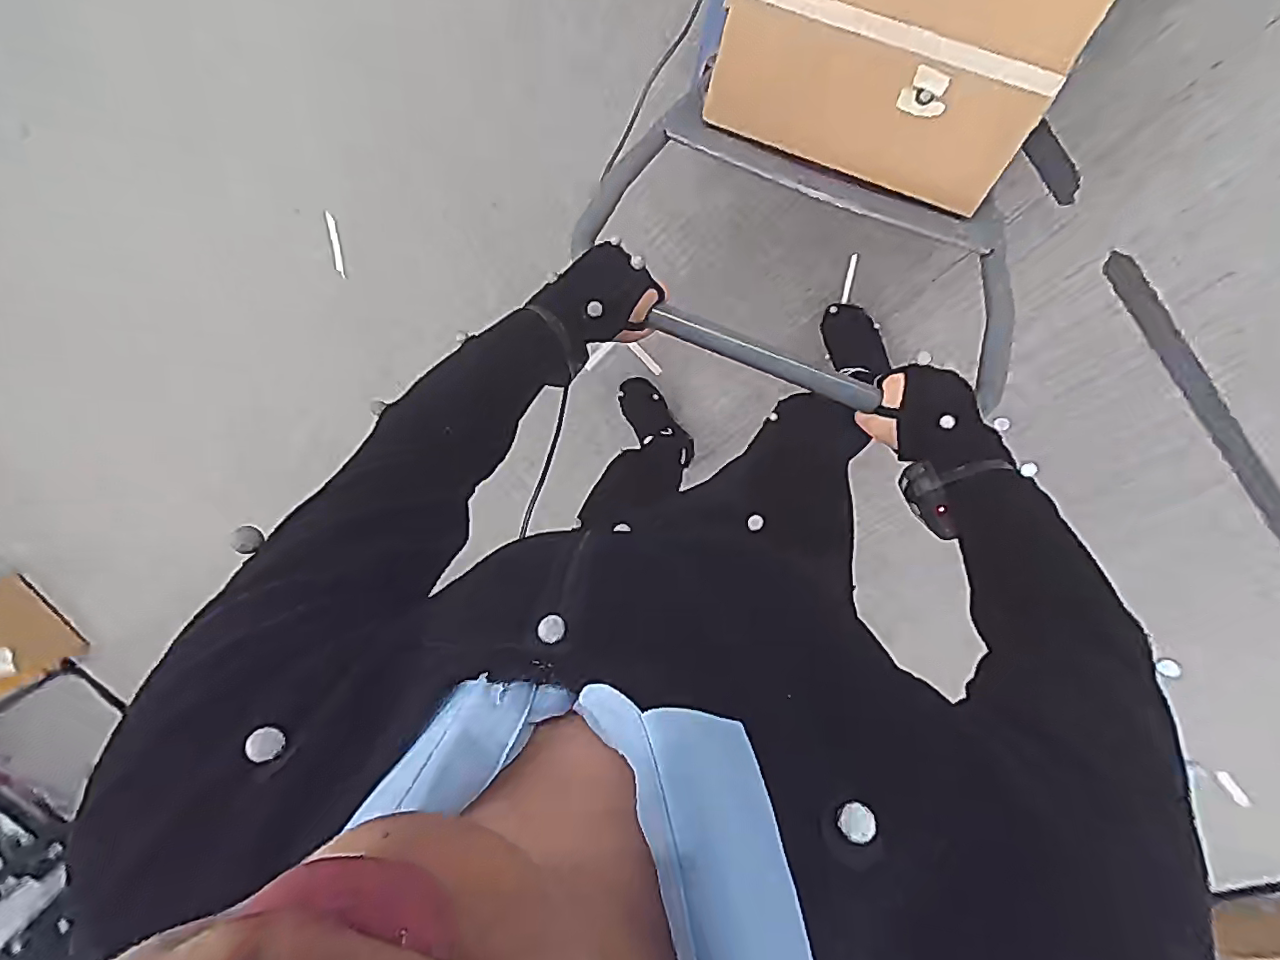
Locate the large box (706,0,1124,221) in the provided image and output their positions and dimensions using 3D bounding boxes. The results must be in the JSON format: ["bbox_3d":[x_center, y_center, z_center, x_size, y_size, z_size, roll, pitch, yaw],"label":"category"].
[{"bbox_3d":[0.348,-0.620,0.738,0.408,0.320,0.320,22,139,3],"label":"large box"}]
